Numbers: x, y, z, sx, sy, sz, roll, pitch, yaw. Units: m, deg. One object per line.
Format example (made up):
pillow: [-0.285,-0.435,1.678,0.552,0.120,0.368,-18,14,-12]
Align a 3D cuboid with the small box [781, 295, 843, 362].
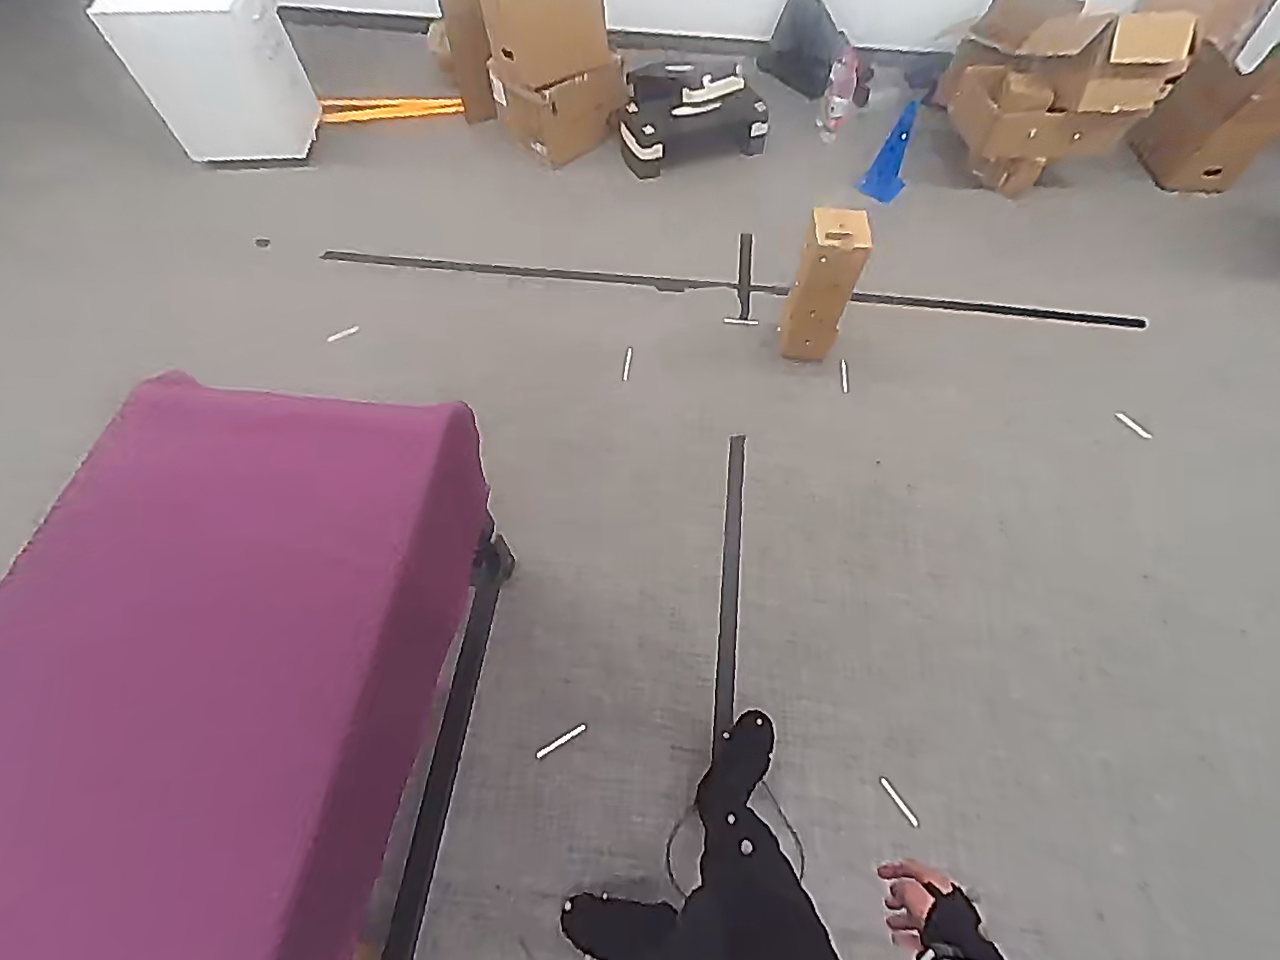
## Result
small box: [0.627,-0.554,1.991,0.179,0.176,0.168,5,61,2]

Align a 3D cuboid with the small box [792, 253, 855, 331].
small box: [0.627,-0.643,1.854,0.168,0.176,0.179,10,62,4]
